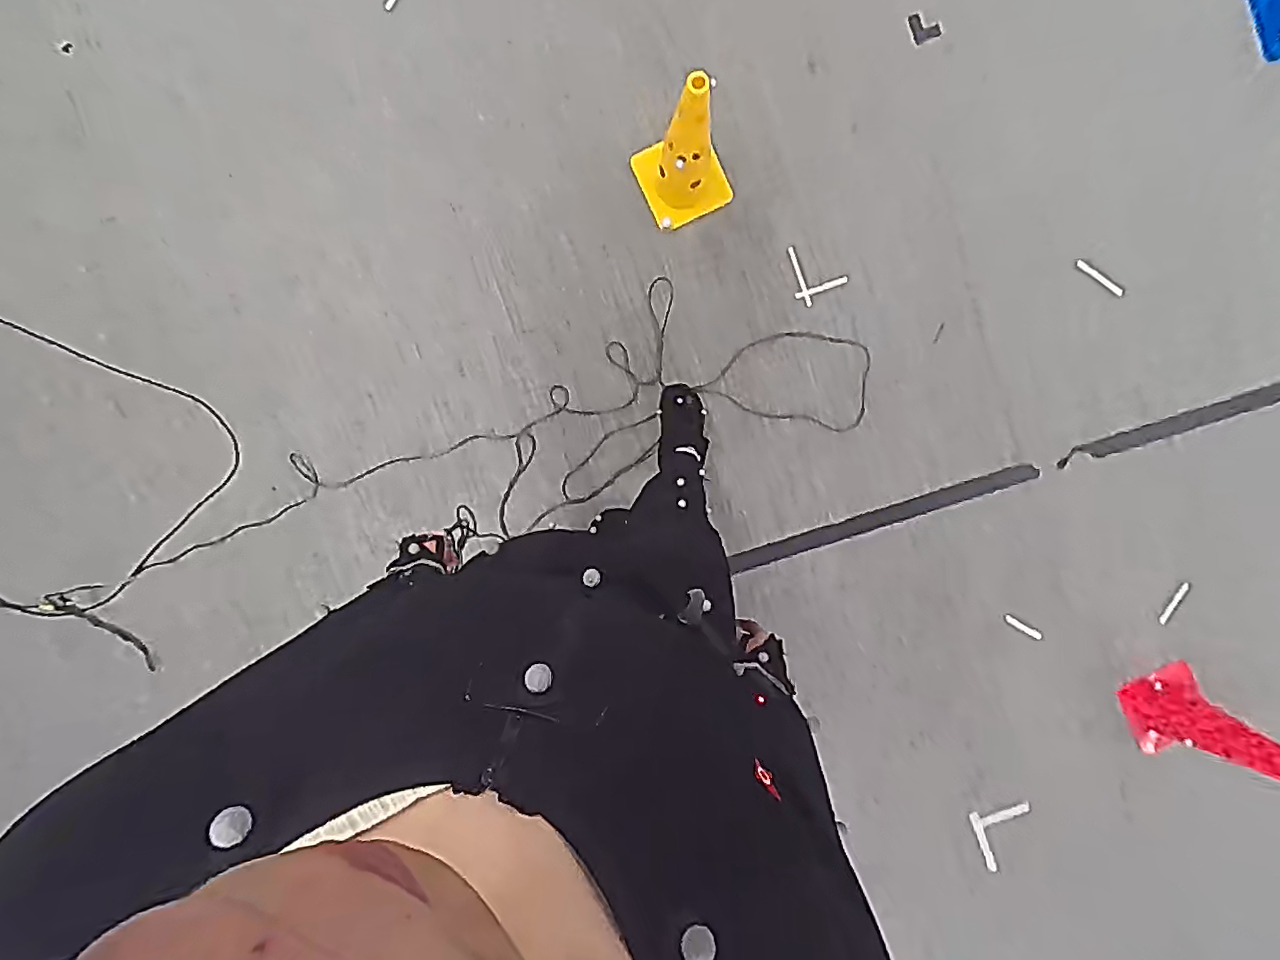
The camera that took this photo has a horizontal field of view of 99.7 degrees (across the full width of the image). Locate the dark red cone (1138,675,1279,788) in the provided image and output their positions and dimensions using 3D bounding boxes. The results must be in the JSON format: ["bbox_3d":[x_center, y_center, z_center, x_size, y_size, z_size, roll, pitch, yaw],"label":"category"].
[{"bbox_3d":[1.368,0.612,1.193,0.202,0.394,0.201,-26,92,1],"label":"dark red cone"}]

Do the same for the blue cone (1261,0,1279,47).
[{"bbox_3d":[1.592,-1.133,1.130,0.193,0.380,0.192,-17,92,0],"label":"blue cone"}]
